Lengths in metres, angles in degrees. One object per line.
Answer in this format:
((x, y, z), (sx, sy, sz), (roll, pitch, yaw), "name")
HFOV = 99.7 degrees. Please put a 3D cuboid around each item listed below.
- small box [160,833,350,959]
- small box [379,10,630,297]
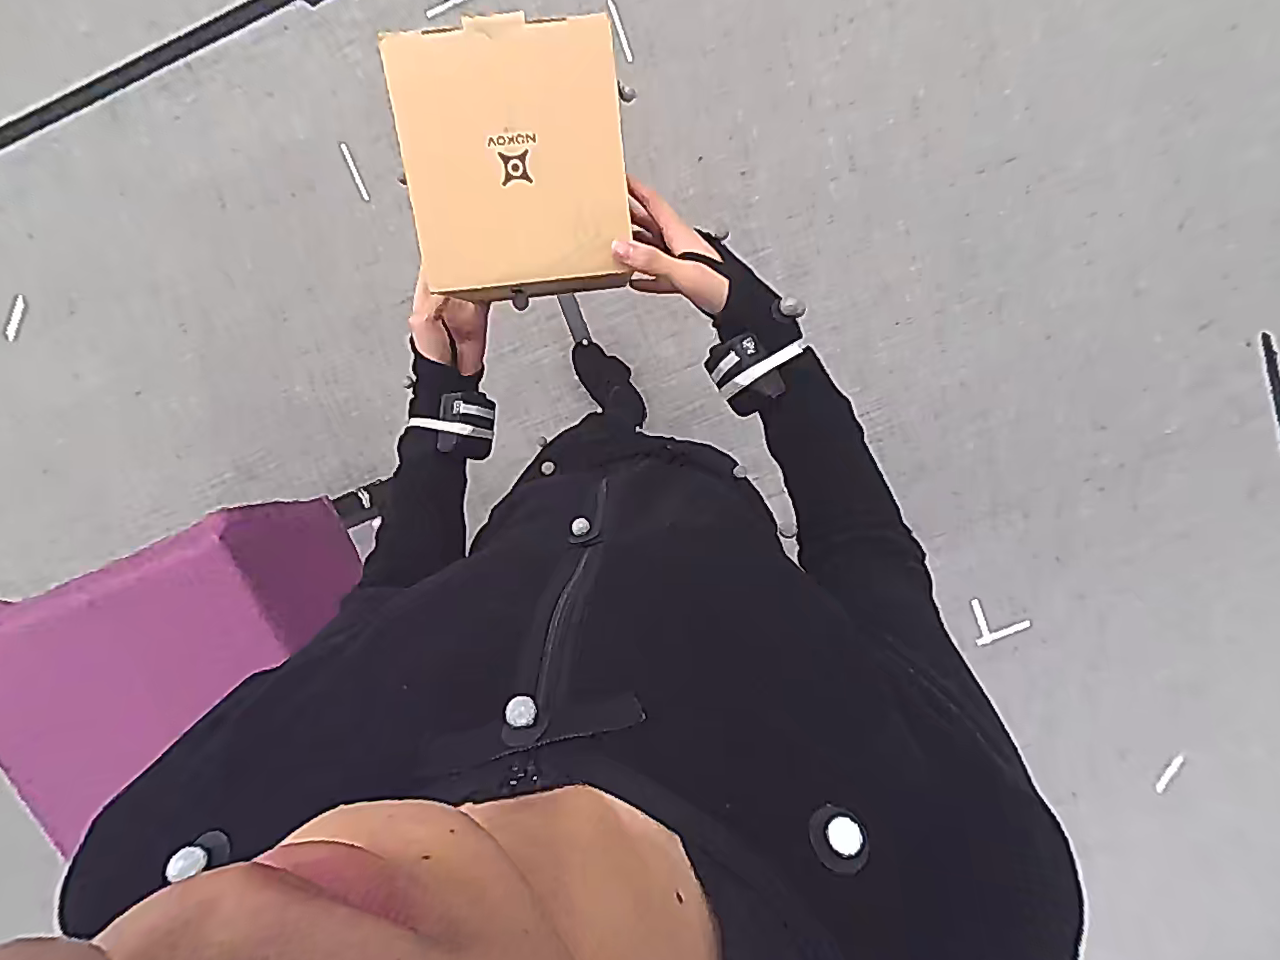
((-0.660, 0.779, 0.953), (0.168, 0.176, 0.179), (-32, 98, 6), "small box")
((-0.098, -0.262, 0.479), (0.168, 0.176, 0.179), (-7, 105, -2), "small box")
